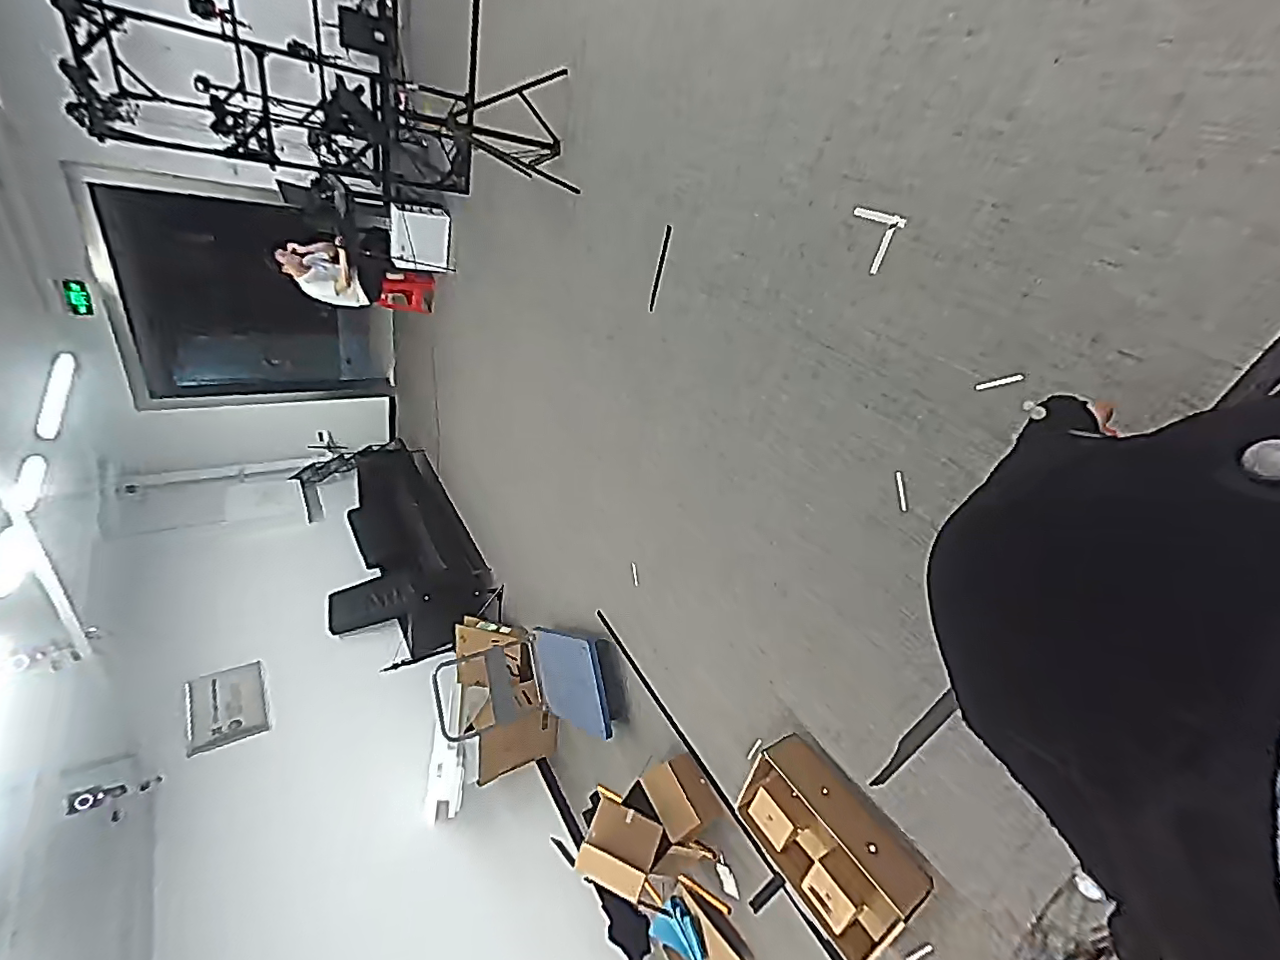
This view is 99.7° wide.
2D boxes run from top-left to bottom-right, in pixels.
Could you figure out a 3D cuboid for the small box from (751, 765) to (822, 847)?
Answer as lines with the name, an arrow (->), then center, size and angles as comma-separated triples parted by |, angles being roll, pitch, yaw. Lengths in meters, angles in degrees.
small box -> 0.549, 1.212, 2.021 | 0.168, 0.176, 0.179 | 44, 133, 41
